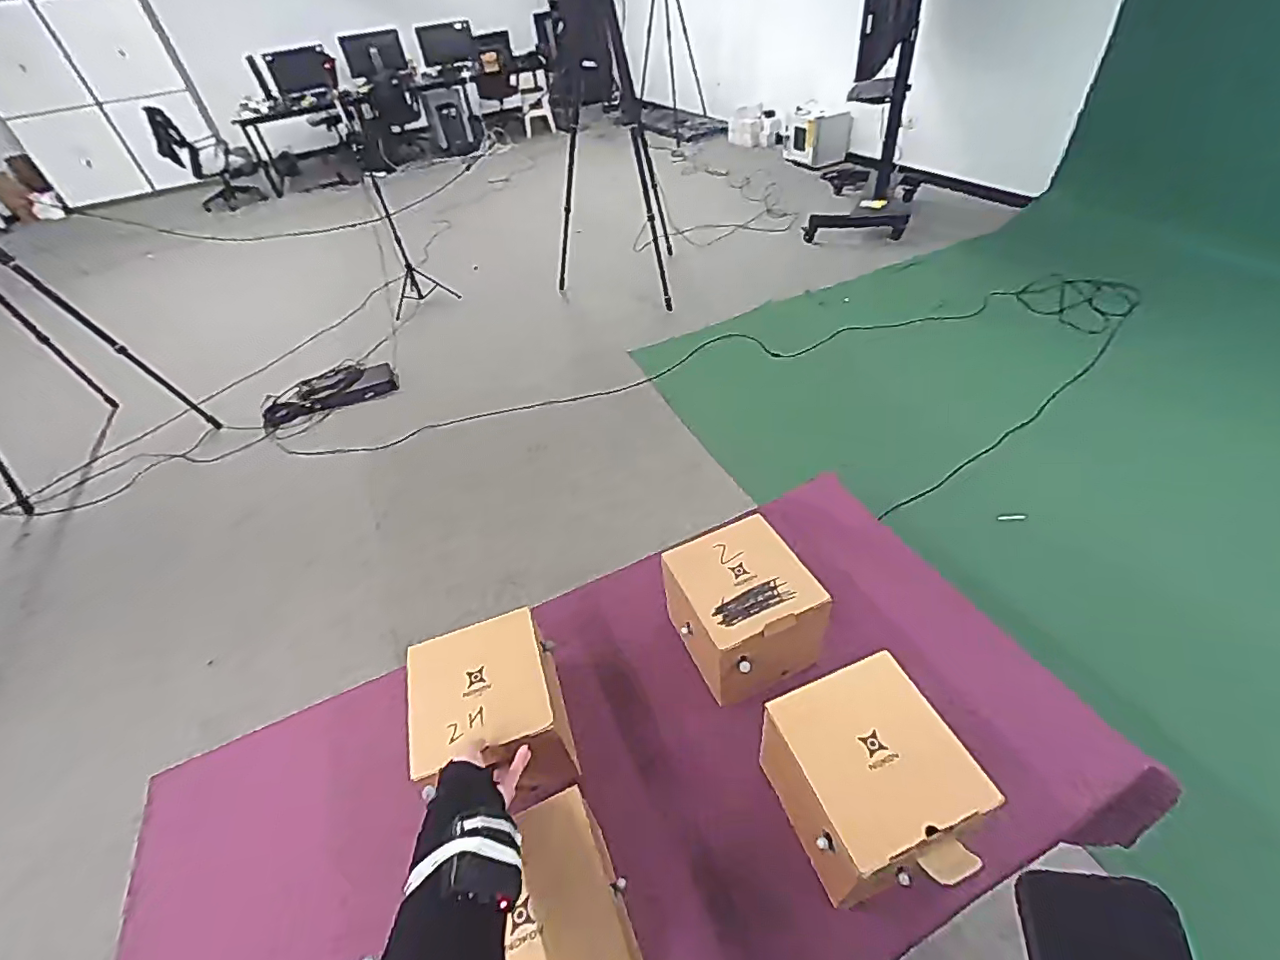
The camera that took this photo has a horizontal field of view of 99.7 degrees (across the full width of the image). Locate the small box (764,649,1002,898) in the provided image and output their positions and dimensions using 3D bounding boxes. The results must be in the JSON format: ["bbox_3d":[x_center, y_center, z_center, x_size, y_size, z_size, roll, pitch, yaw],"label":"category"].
[{"bbox_3d":[0.254,0.335,0.621,0.168,0.176,0.179,-20,45,-10],"label":"small box"}]

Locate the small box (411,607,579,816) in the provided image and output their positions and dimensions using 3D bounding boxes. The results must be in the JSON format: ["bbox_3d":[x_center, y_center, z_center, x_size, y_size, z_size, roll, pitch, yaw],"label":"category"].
[{"bbox_3d":[-0.191,0.308,0.721,0.168,0.176,0.179,-18,45,-9],"label":"small box"}]

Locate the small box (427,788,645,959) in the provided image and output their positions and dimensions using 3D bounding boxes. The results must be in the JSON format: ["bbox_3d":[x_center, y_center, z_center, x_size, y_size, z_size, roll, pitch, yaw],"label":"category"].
[{"bbox_3d":[-0.097,0.460,0.551,0.168,0.176,0.179,-20,44,-12],"label":"small box"}]
